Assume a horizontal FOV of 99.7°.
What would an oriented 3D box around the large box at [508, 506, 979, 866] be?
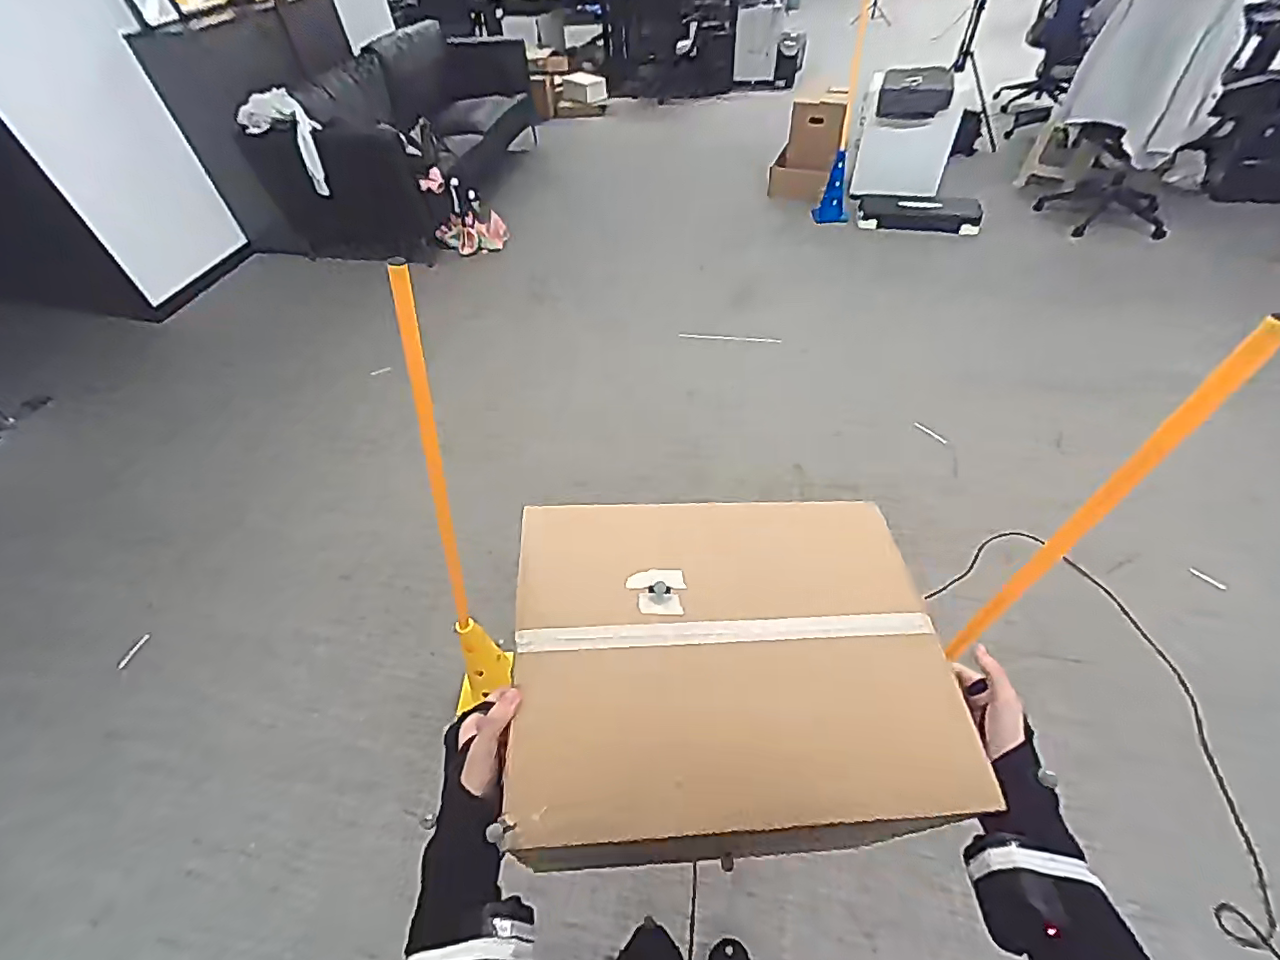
[{"bbox_3d":[0.073,0.248,0.644,0.408,0.320,0.320,-1,51,-6],"label":"large box"}]
